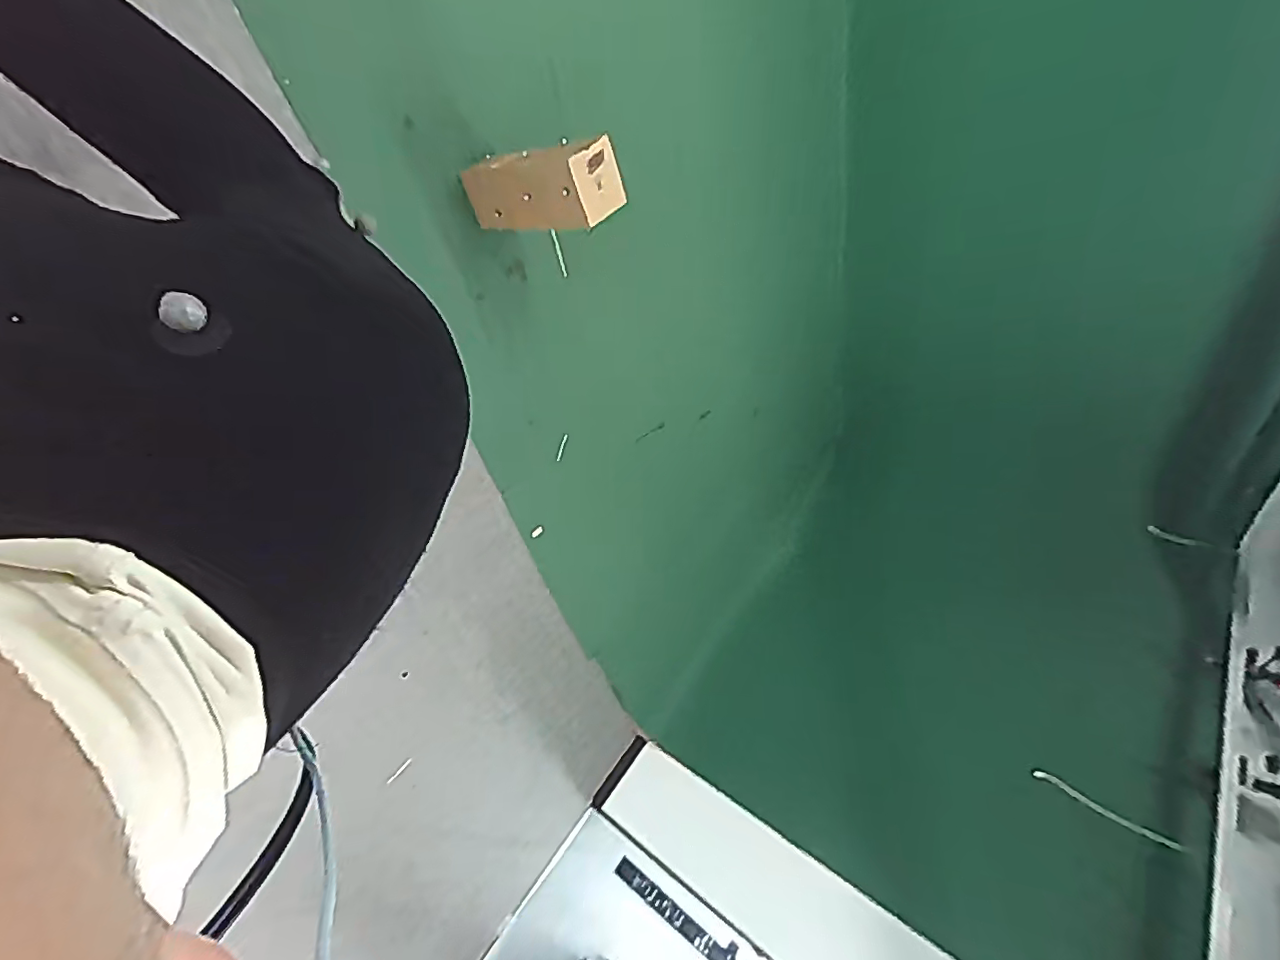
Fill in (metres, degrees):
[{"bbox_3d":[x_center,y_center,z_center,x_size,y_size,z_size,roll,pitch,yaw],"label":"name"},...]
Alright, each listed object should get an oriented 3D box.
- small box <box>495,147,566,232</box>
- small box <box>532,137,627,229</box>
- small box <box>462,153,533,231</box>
[{"bbox_3d":[-0.292,-0.851,1.595,0.168,0.176,0.179,-47,135,-28],"label":"small box"},{"bbox_3d":[-0.169,-0.813,1.494,0.168,0.176,0.179,-47,137,-27],"label":"small box"},{"bbox_3d":[-0.418,-0.897,1.688,0.168,0.176,0.179,-44,135,-30],"label":"small box"}]
